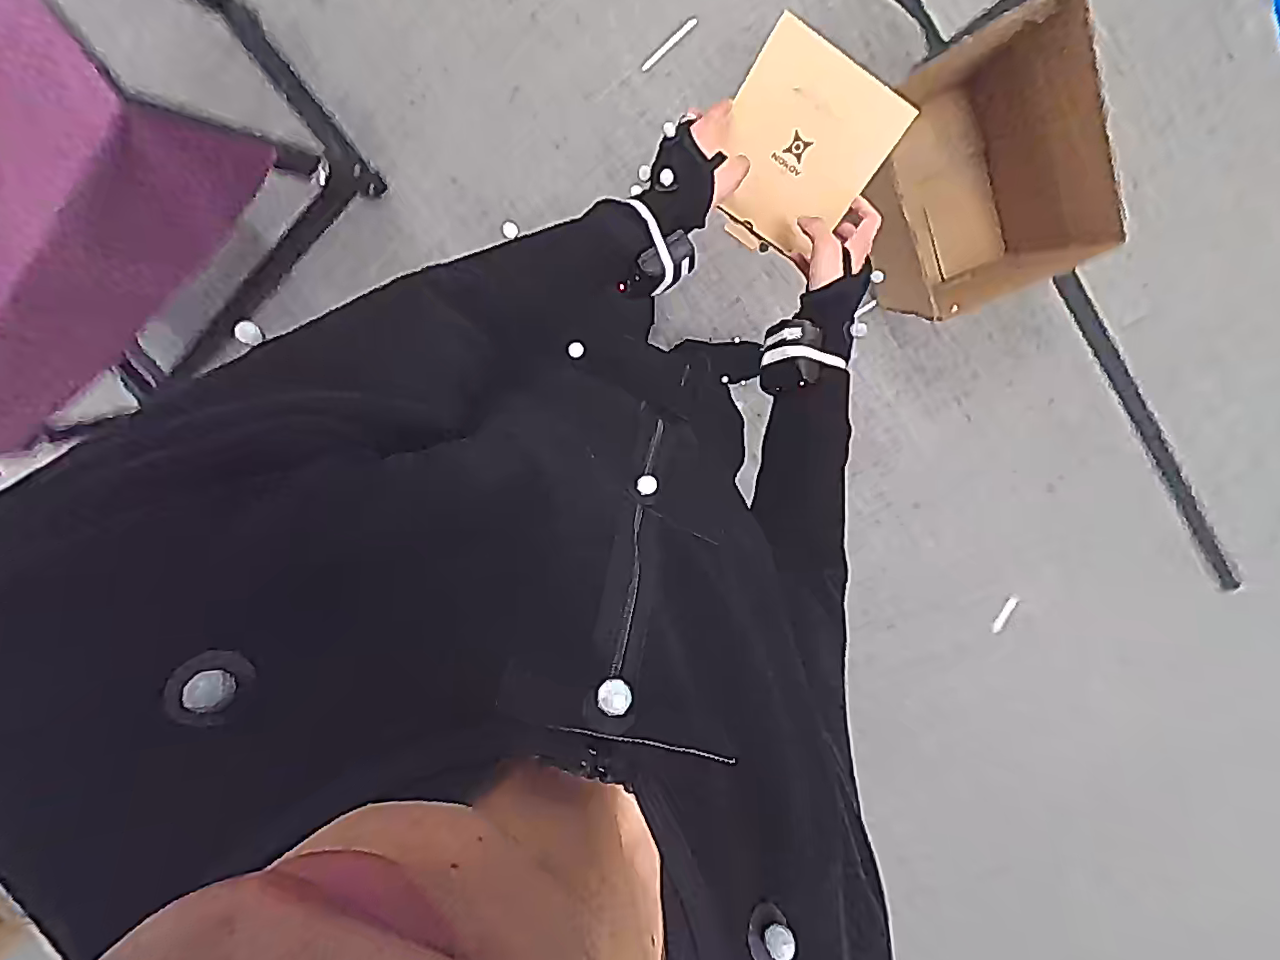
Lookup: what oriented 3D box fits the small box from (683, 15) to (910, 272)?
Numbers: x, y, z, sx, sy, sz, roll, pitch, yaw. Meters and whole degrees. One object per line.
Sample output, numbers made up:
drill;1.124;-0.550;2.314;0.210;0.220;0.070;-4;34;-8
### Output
small box;0.171;-0.375;0.630;0.168;0.176;0.179;31;119;-7
